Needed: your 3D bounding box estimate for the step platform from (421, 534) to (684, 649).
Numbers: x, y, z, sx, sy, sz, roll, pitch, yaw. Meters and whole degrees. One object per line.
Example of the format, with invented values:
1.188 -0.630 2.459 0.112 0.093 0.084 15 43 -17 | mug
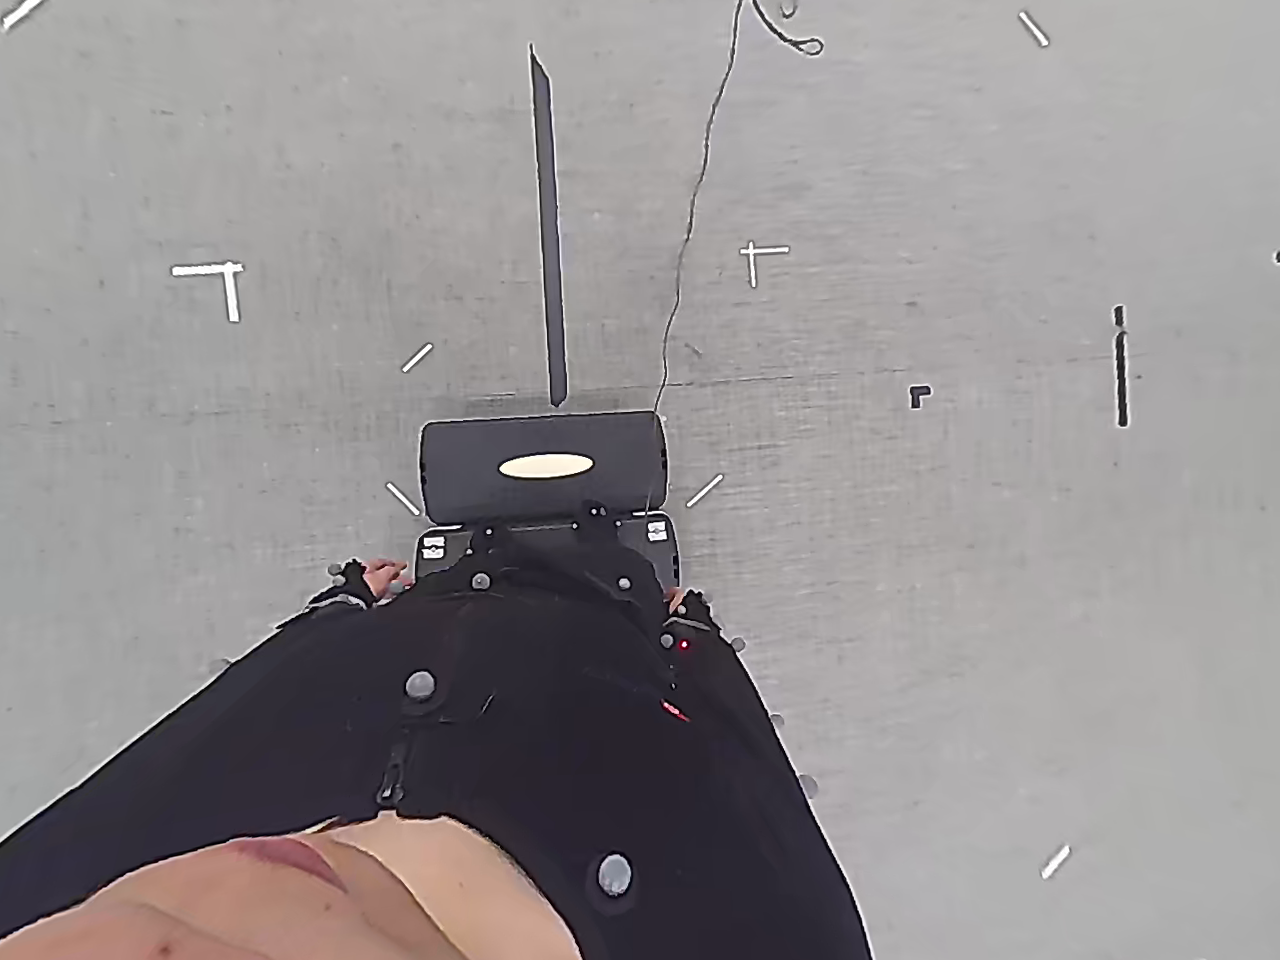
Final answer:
-0.222 0.293 1.456 0.684 0.204 0.286 1 88 -5 | step platform
